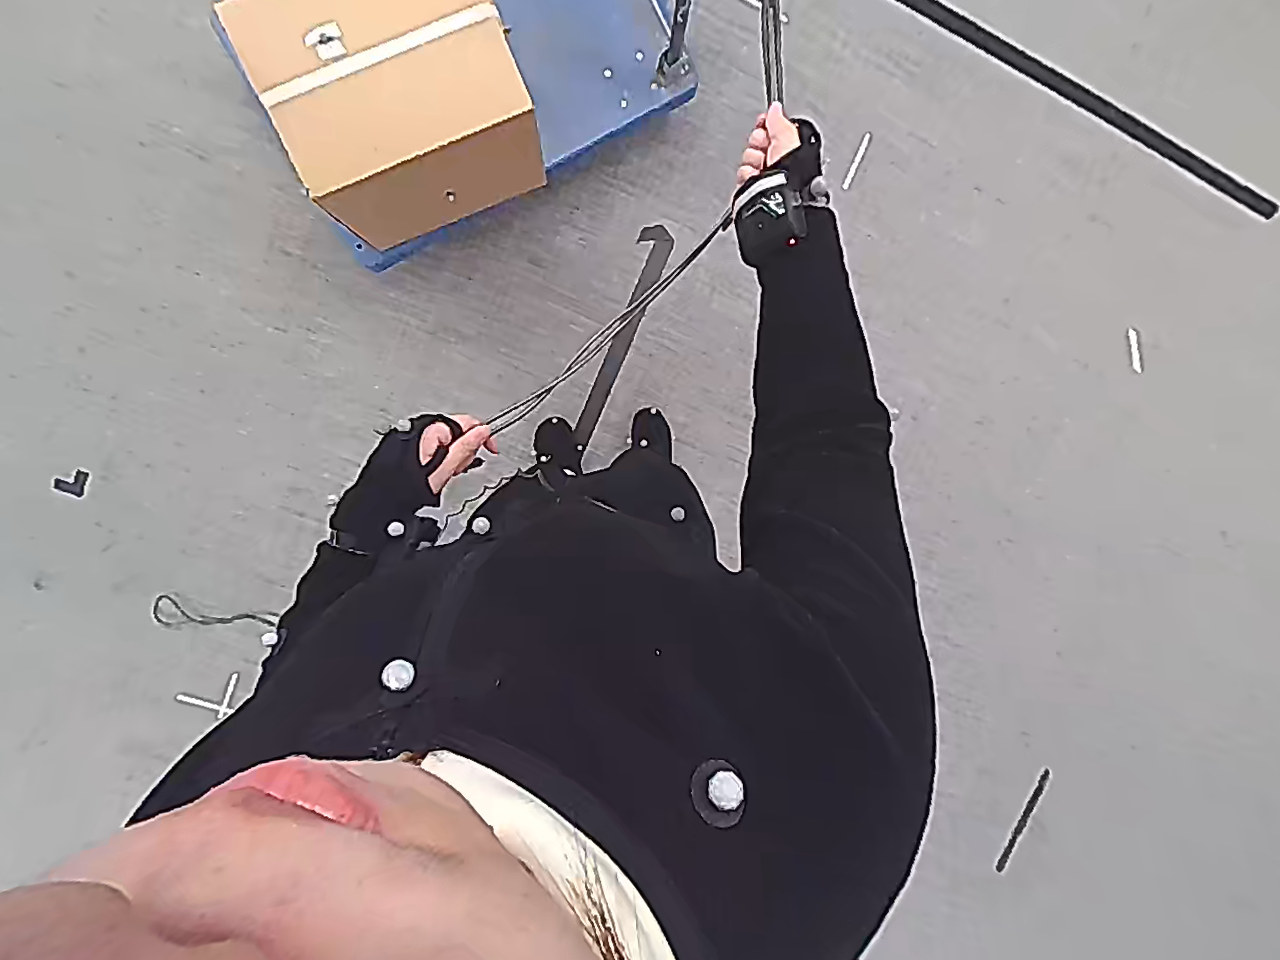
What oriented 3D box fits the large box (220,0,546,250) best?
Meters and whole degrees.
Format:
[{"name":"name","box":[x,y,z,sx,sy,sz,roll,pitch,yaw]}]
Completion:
[{"name":"large box","box":[-0.431,-0.695,1.020,0.408,0.320,0.320,-24,98,-2]}]
